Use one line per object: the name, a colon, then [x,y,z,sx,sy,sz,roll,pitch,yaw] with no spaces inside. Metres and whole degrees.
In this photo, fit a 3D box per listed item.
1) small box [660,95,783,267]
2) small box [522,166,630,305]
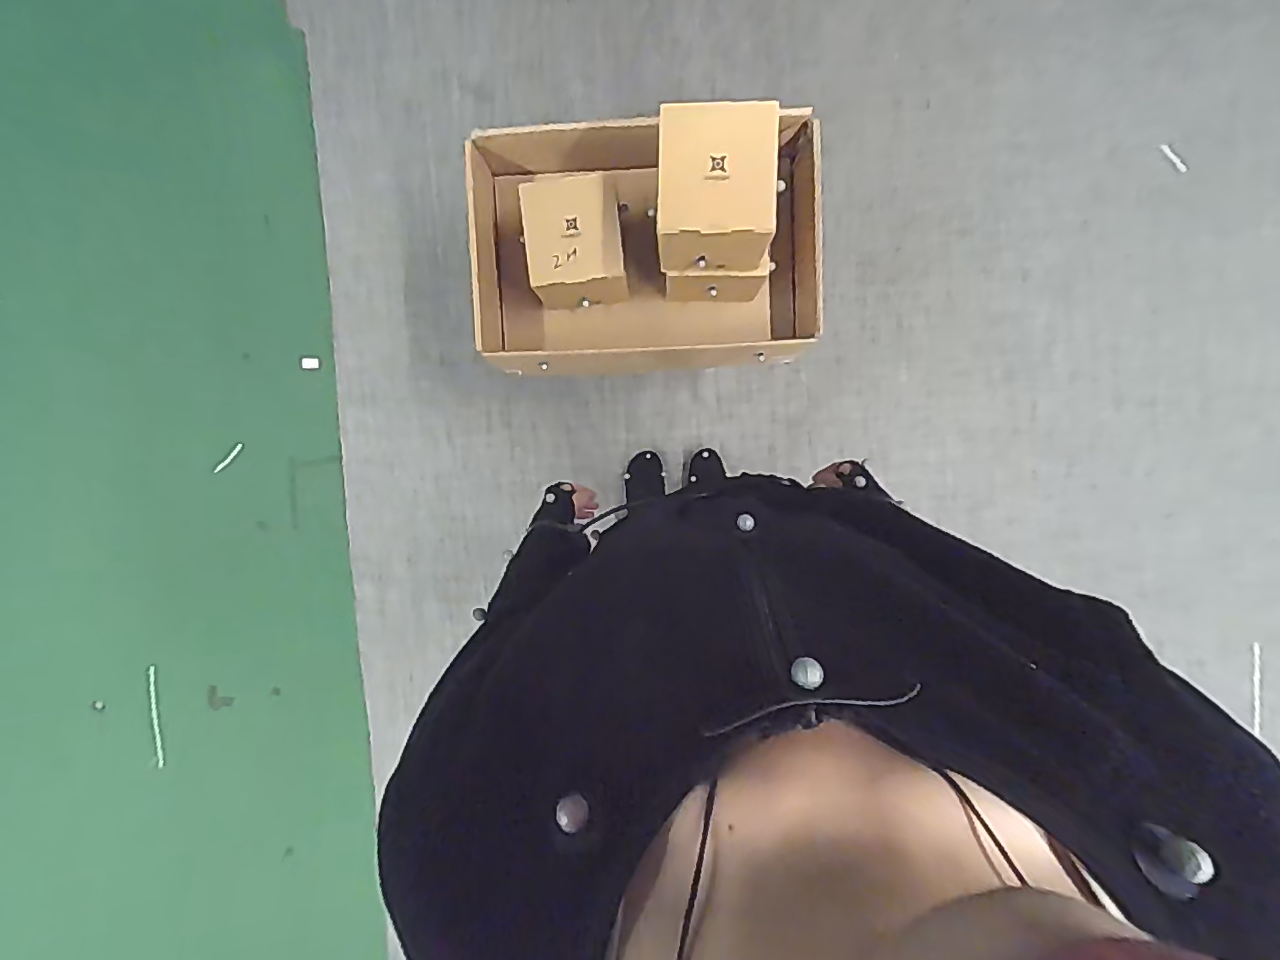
small box: [0.114,-0.440,0.818,0.168,0.176,0.179,1,93,3]
small box: [-0.110,-0.437,0.990,0.168,0.176,0.179,-5,94,2]
